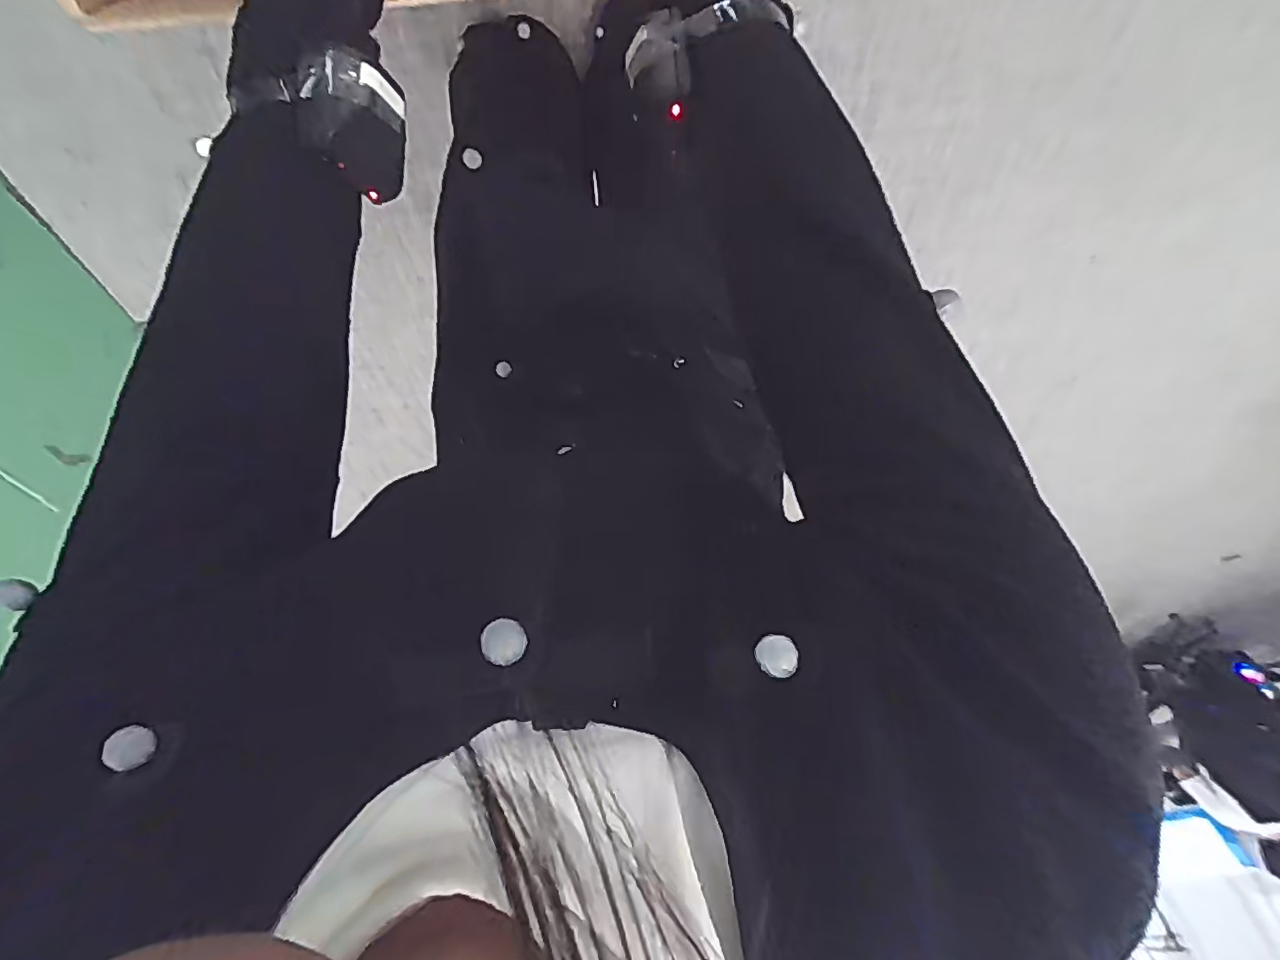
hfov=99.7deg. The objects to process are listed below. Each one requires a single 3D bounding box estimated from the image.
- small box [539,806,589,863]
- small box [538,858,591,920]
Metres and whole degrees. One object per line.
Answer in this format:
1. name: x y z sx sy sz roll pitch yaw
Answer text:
1. small box: -0.289 1.367 2.082 0.168 0.176 0.179 -7 141 -1
2. small box: -0.271 1.493 1.977 0.168 0.176 0.179 -7 140 0
